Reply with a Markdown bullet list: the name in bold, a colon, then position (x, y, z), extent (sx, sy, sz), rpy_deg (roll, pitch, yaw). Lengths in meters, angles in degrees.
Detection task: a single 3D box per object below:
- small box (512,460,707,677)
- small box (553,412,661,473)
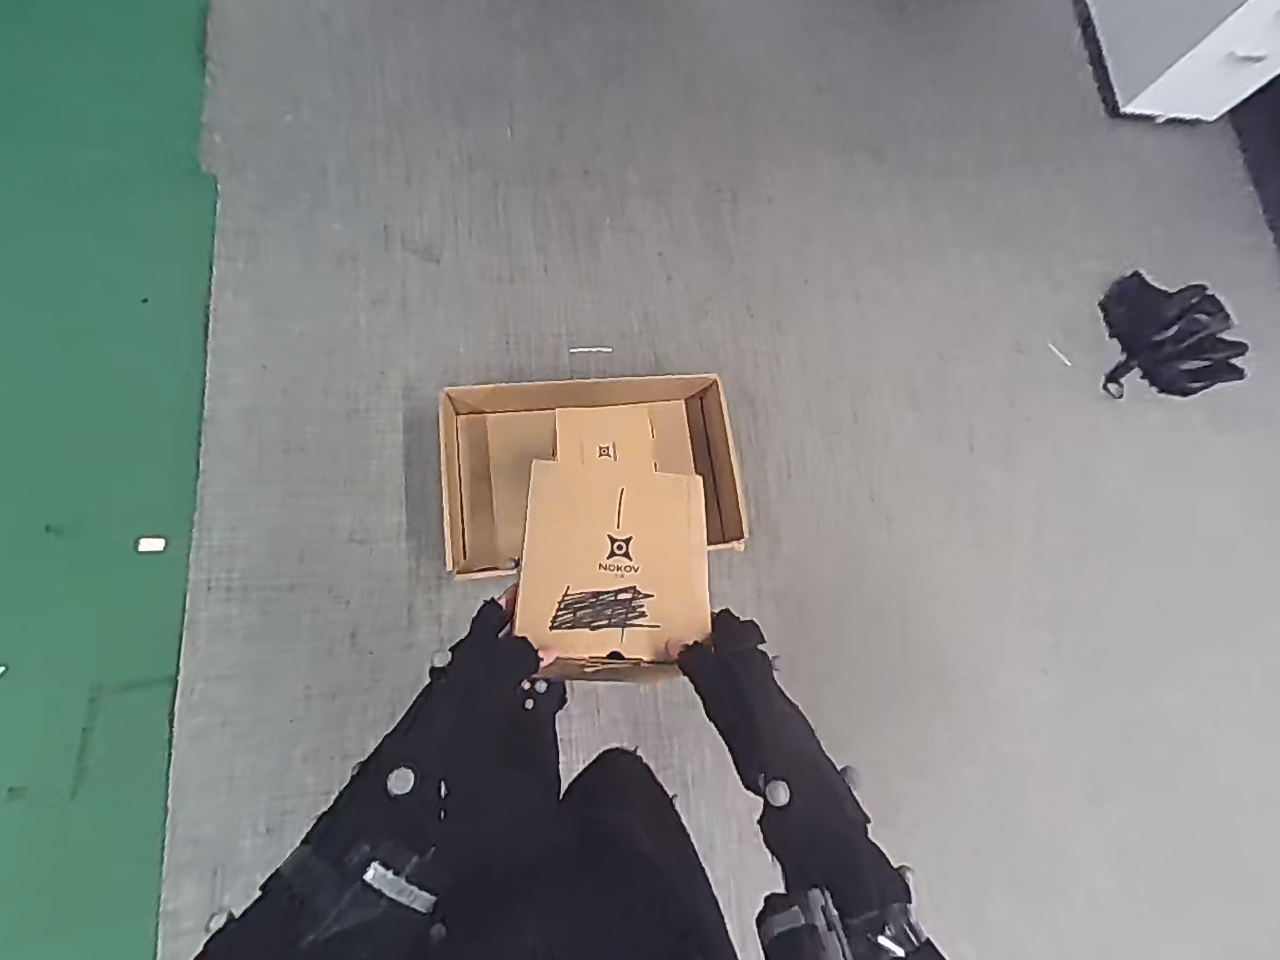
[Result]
- **small box**: position (-0.037, 0.101, 0.550), extent (0.168, 0.176, 0.179), rpy_deg (6, 63, -11)
- **small box**: position (-0.066, -0.019, 1.017), extent (0.179, 0.176, 0.168), rpy_deg (-5, 77, -11)
